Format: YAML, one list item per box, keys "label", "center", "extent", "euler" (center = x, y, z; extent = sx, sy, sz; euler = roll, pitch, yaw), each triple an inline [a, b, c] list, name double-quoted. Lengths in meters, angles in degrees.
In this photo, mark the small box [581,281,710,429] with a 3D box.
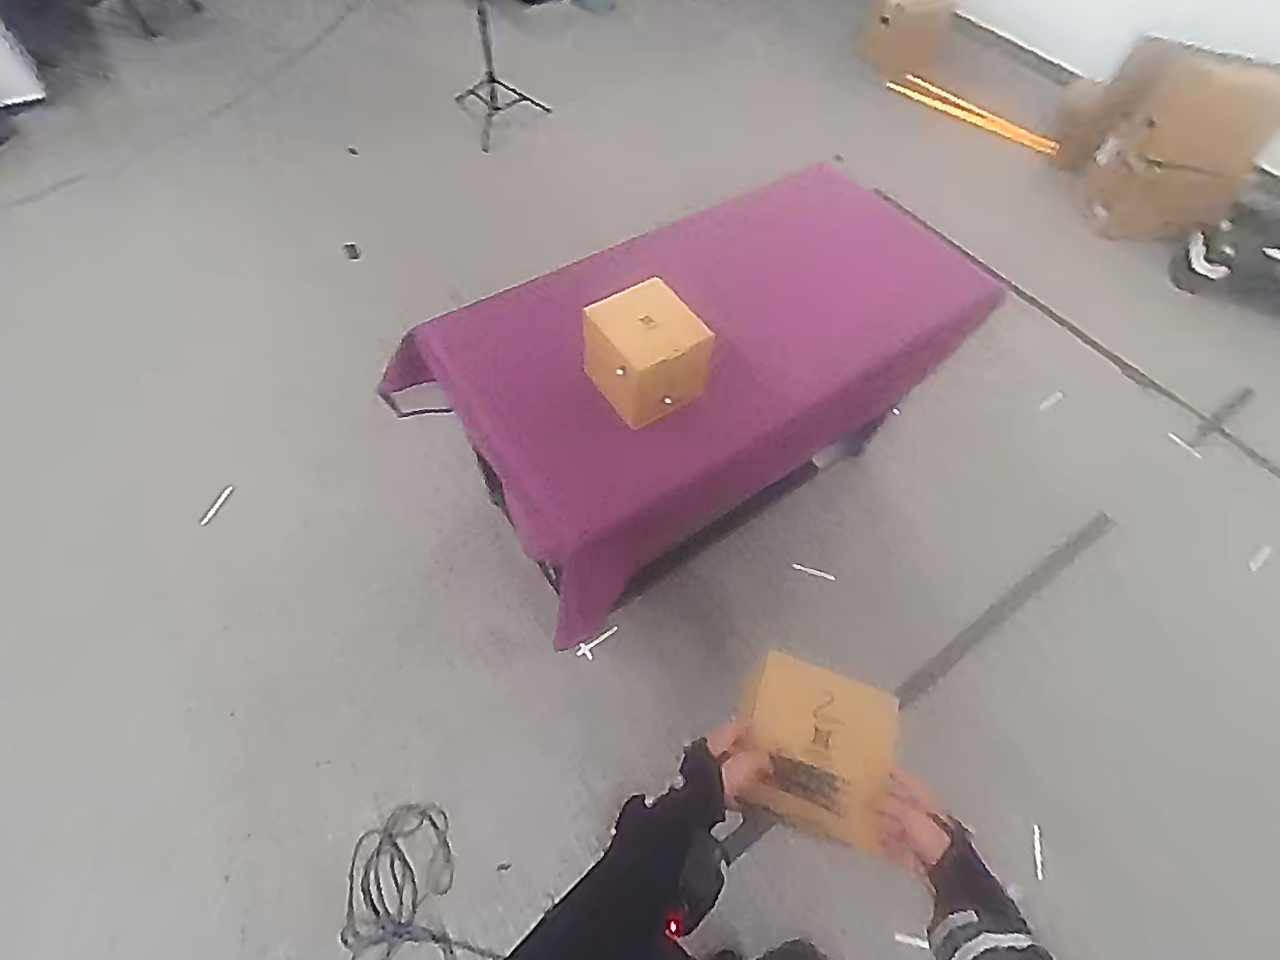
- label: "small box"
  center: [0.003, -0.230, 1.013]
  extent: [0.168, 0.176, 0.179]
  euler: [-31, 67, -20]
